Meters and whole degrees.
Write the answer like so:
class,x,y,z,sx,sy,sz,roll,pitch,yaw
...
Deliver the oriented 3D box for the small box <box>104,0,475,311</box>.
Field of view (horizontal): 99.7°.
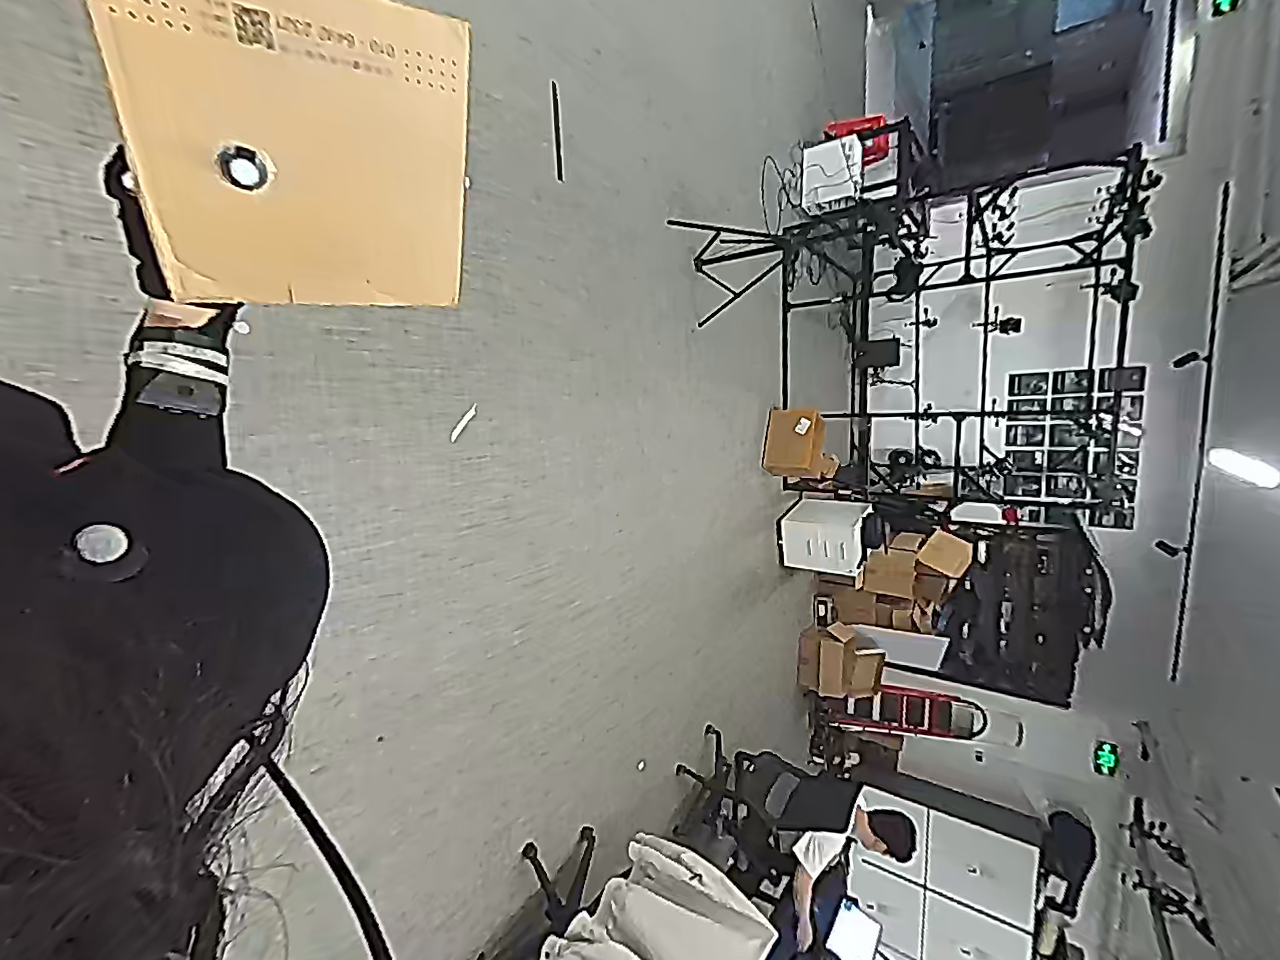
class,x,y,z,sx,sy,sz,roll,pitch,yaw
small box,-0.214,-0.227,0.350,0.168,0.179,0.176,-9,134,-34
